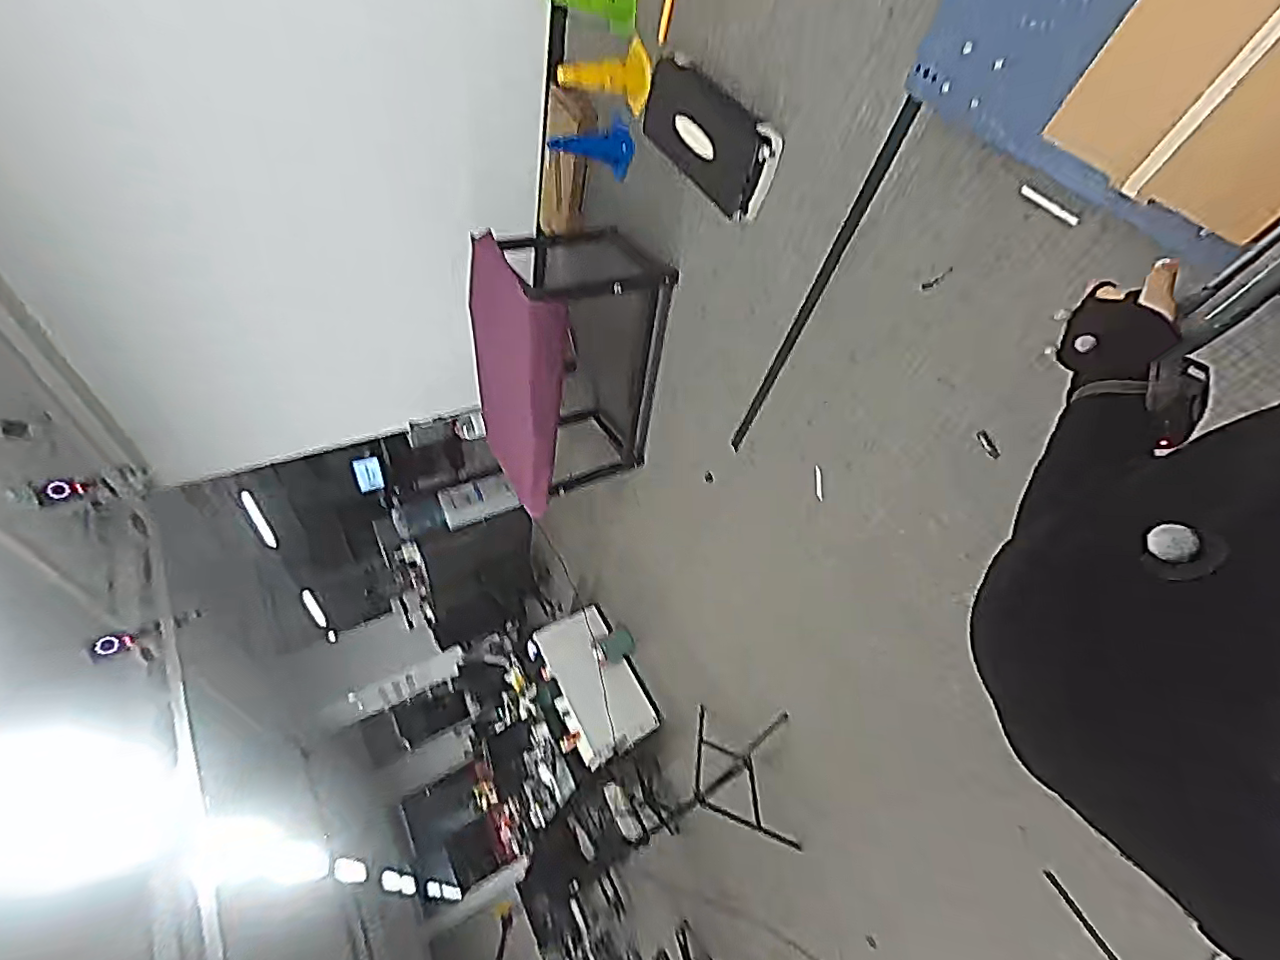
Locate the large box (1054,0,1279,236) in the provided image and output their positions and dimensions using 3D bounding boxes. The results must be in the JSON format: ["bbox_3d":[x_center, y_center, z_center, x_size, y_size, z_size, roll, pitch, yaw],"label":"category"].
[{"bbox_3d":[0.862,-0.575,0.669,0.320,0.320,0.408,55,148,27],"label":"large box"}]
